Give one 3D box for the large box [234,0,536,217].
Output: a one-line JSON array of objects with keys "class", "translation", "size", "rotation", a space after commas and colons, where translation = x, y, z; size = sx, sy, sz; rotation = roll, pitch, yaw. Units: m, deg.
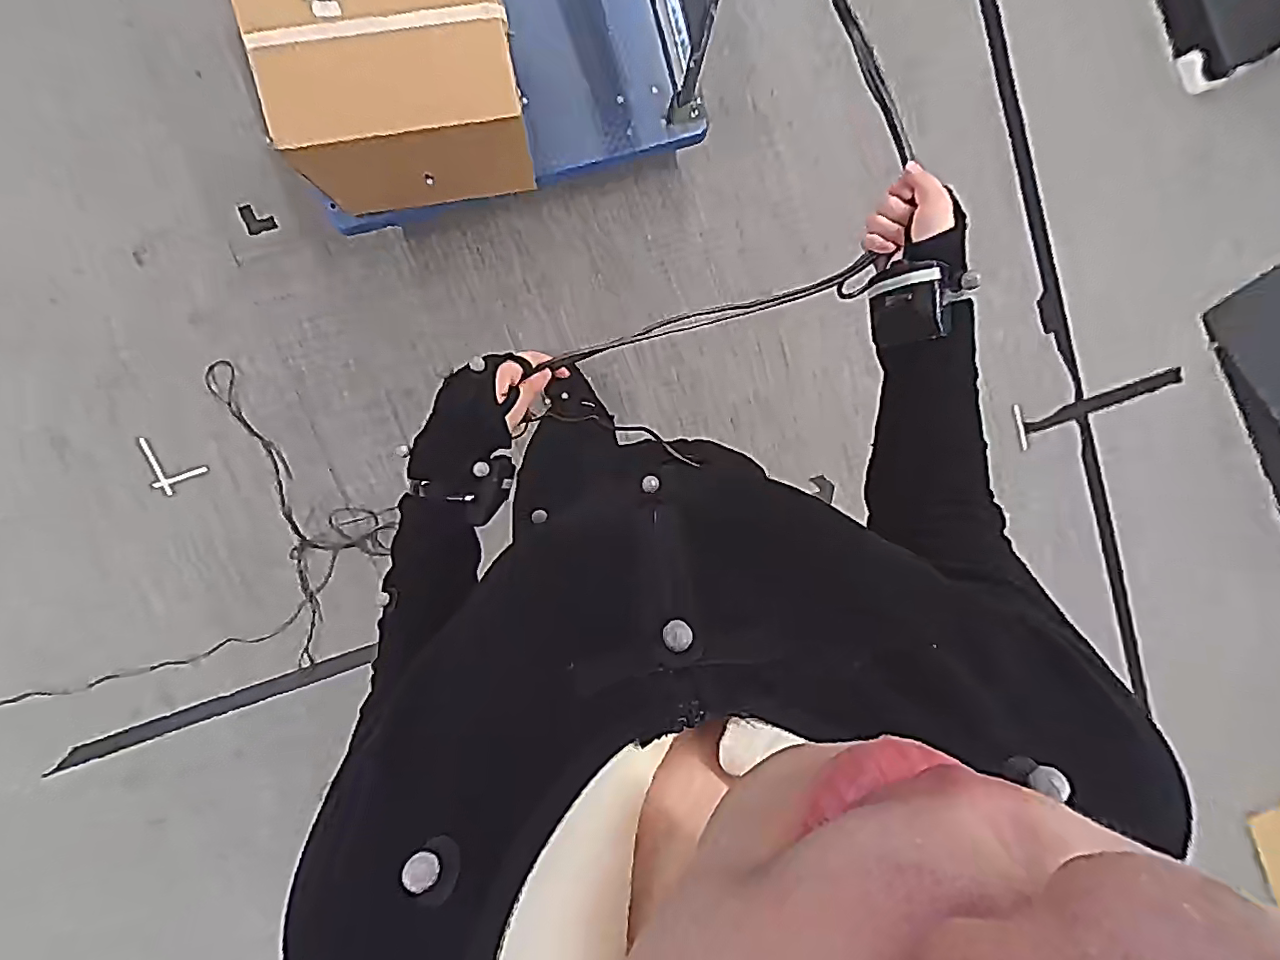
[{"class": "large box", "translation": [-0.434, -0.727, 1.007], "size": [0.408, 0.320, 0.320], "rotation": [-11, 98, -4]}]
